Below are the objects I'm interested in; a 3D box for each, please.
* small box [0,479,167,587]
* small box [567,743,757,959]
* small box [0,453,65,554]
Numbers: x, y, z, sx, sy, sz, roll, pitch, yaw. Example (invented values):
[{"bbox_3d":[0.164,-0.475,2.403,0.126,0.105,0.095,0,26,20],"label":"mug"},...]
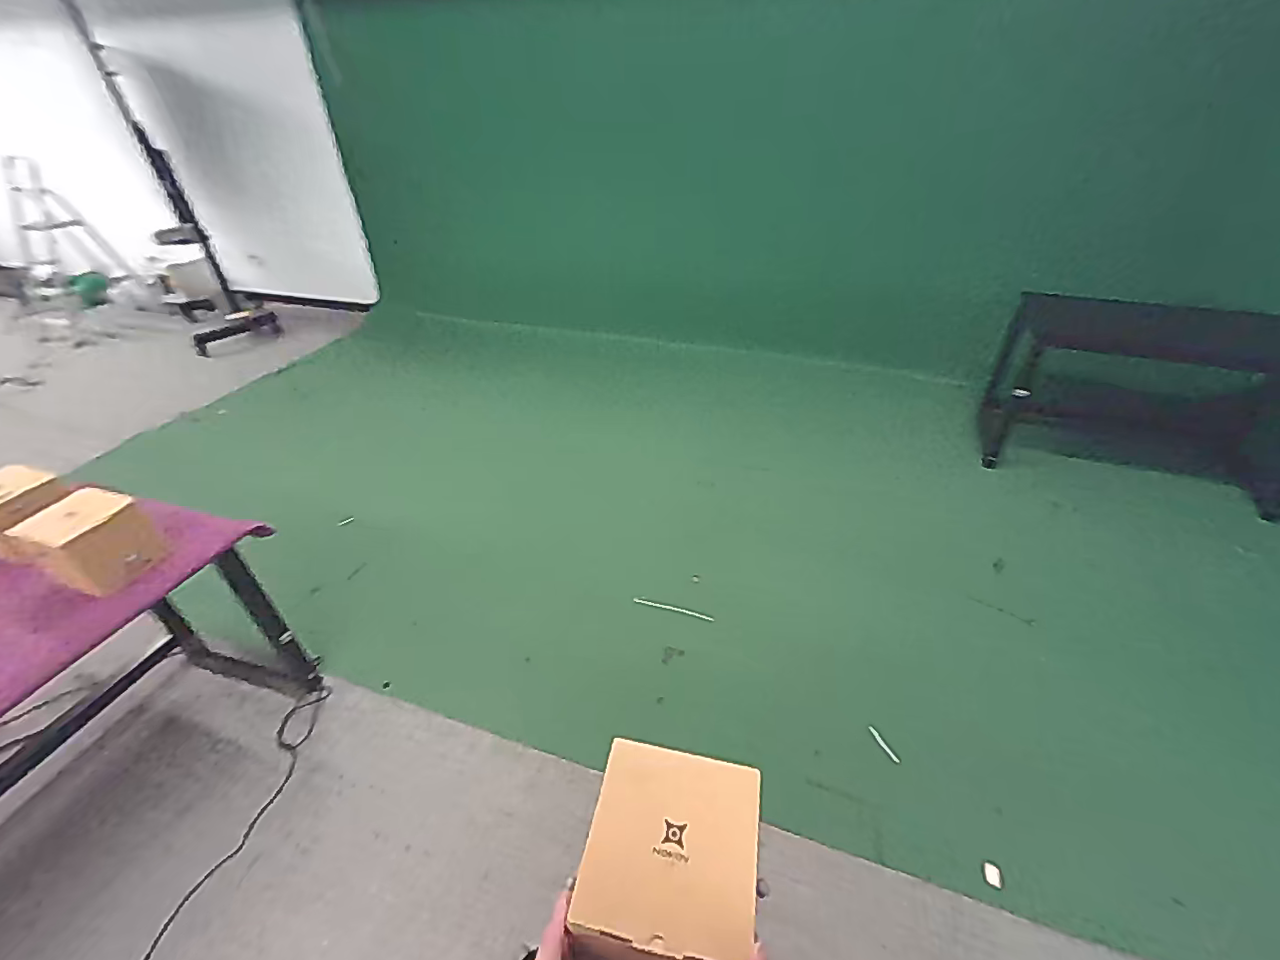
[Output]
[{"bbox_3d":[-1.269,0.124,1.247,0.179,0.176,0.168,11,41,14],"label":"small box"},{"bbox_3d":[0.025,0.422,0.578,0.168,0.176,0.179,9,39,7],"label":"small box"},{"bbox_3d":[-1.555,0.060,1.335,0.179,0.176,0.168,12,41,16],"label":"small box"}]
